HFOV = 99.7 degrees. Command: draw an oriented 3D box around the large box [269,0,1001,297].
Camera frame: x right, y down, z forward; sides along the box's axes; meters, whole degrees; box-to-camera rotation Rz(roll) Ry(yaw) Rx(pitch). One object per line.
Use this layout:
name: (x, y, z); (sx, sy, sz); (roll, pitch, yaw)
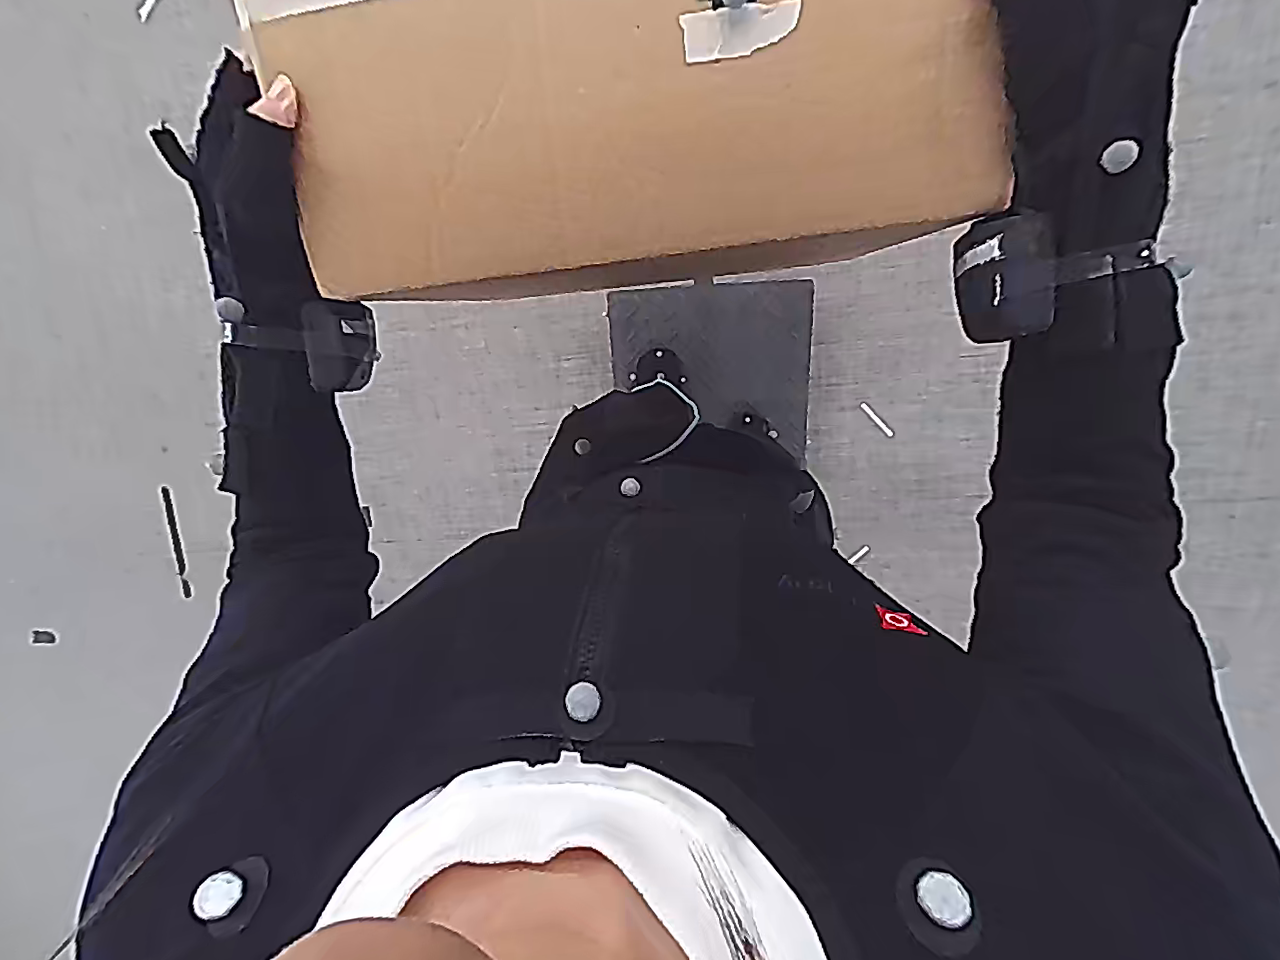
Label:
large box: (-0.004, -0.332, 0.425); (0.408, 0.320, 0.320); (-5, 108, 8)
